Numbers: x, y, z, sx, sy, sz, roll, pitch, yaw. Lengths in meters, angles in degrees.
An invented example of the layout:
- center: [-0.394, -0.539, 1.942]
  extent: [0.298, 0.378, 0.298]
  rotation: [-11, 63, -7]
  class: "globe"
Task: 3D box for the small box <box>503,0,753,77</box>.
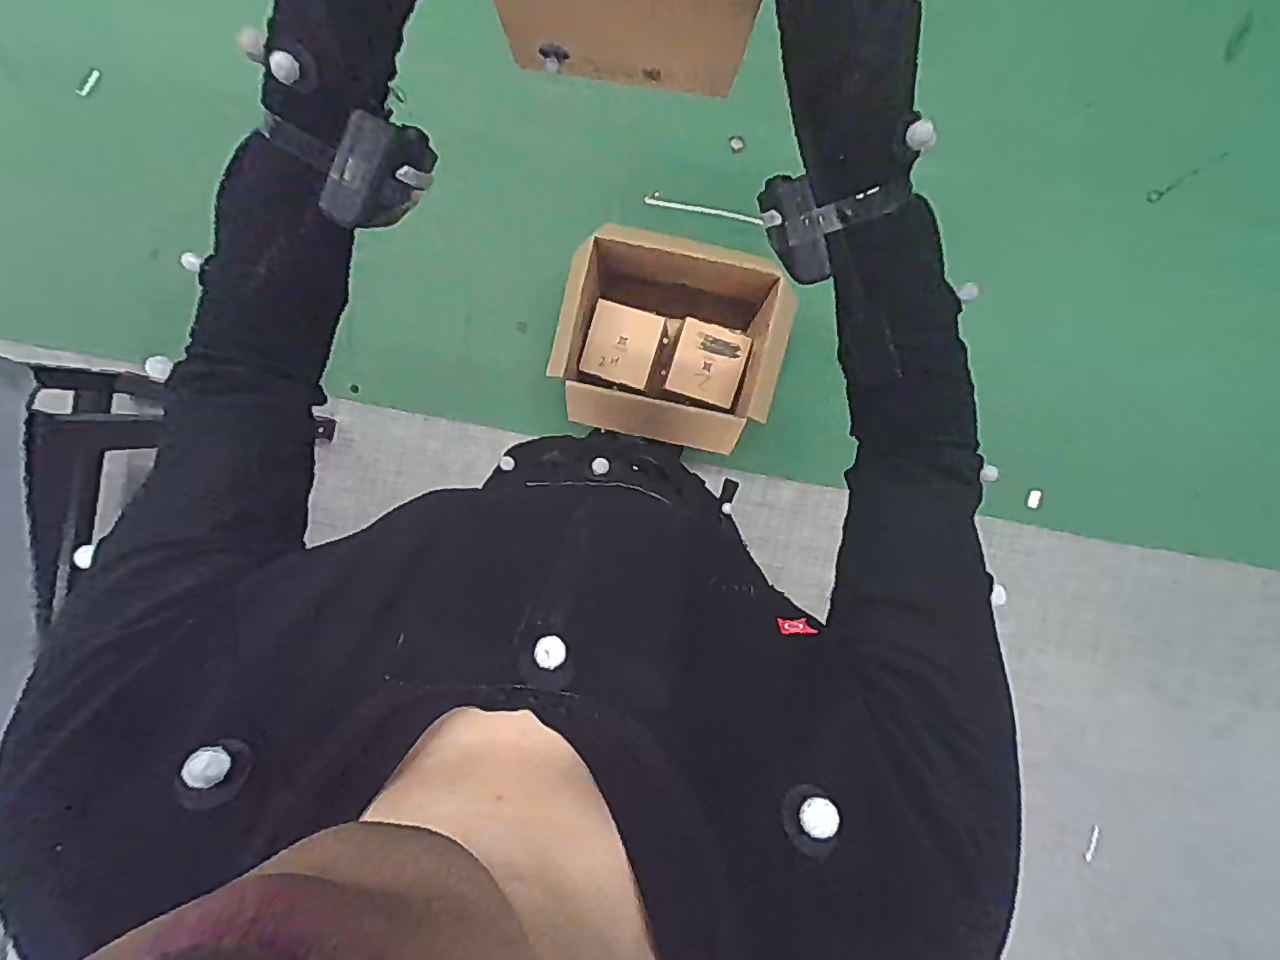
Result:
- center: [-0.001, -0.372, 0.306]
  extent: [0.168, 0.176, 0.179]
  rotation: [7, 101, -3]
  class: "small box"
